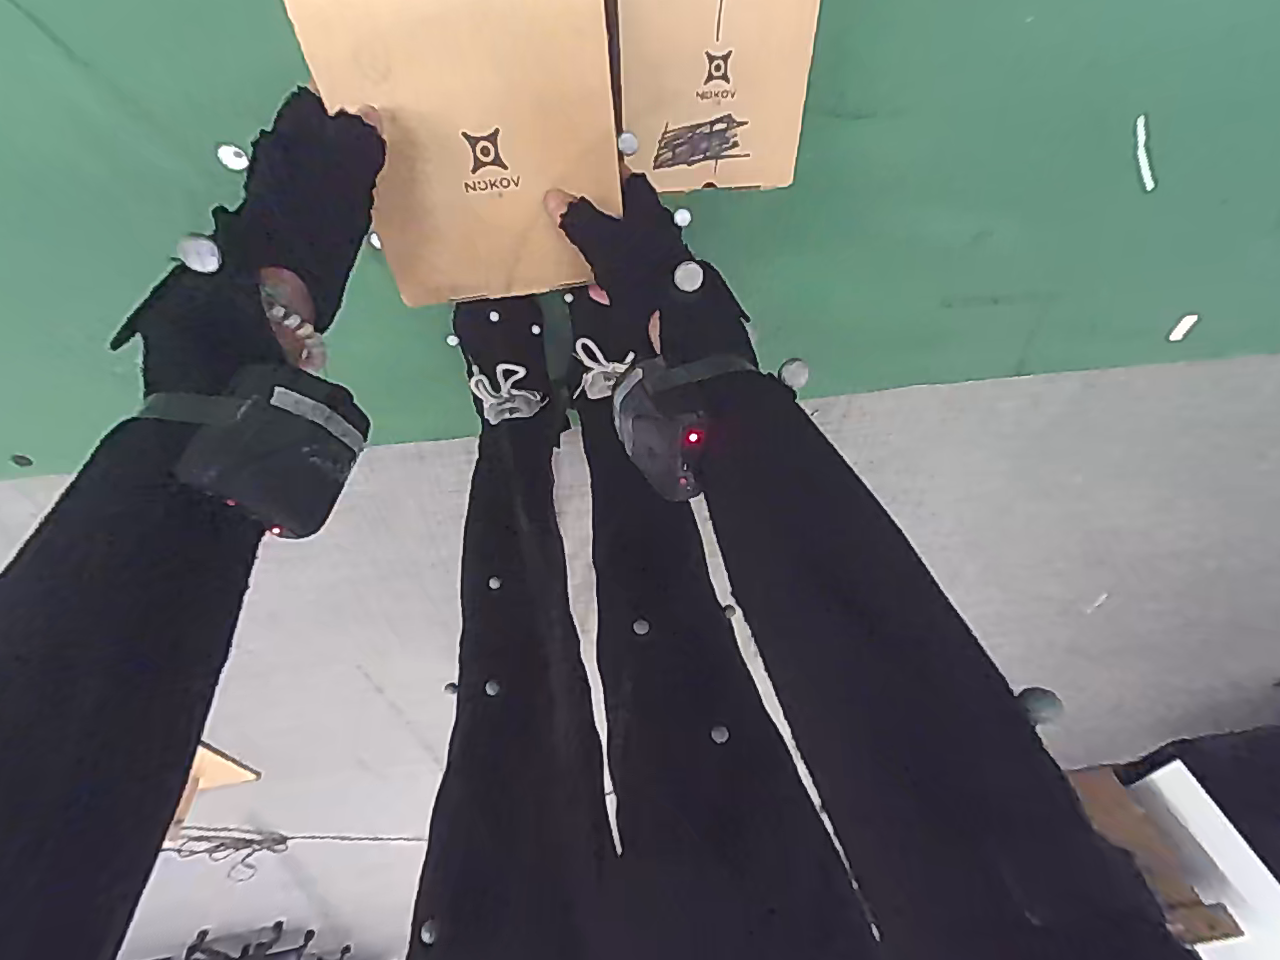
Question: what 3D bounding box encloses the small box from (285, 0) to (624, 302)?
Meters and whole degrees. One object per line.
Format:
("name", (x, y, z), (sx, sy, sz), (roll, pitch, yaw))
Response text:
("small box", (-0.109, -0.257, 0.391), (0.168, 0.176, 0.179), (-9, 135, -3))
